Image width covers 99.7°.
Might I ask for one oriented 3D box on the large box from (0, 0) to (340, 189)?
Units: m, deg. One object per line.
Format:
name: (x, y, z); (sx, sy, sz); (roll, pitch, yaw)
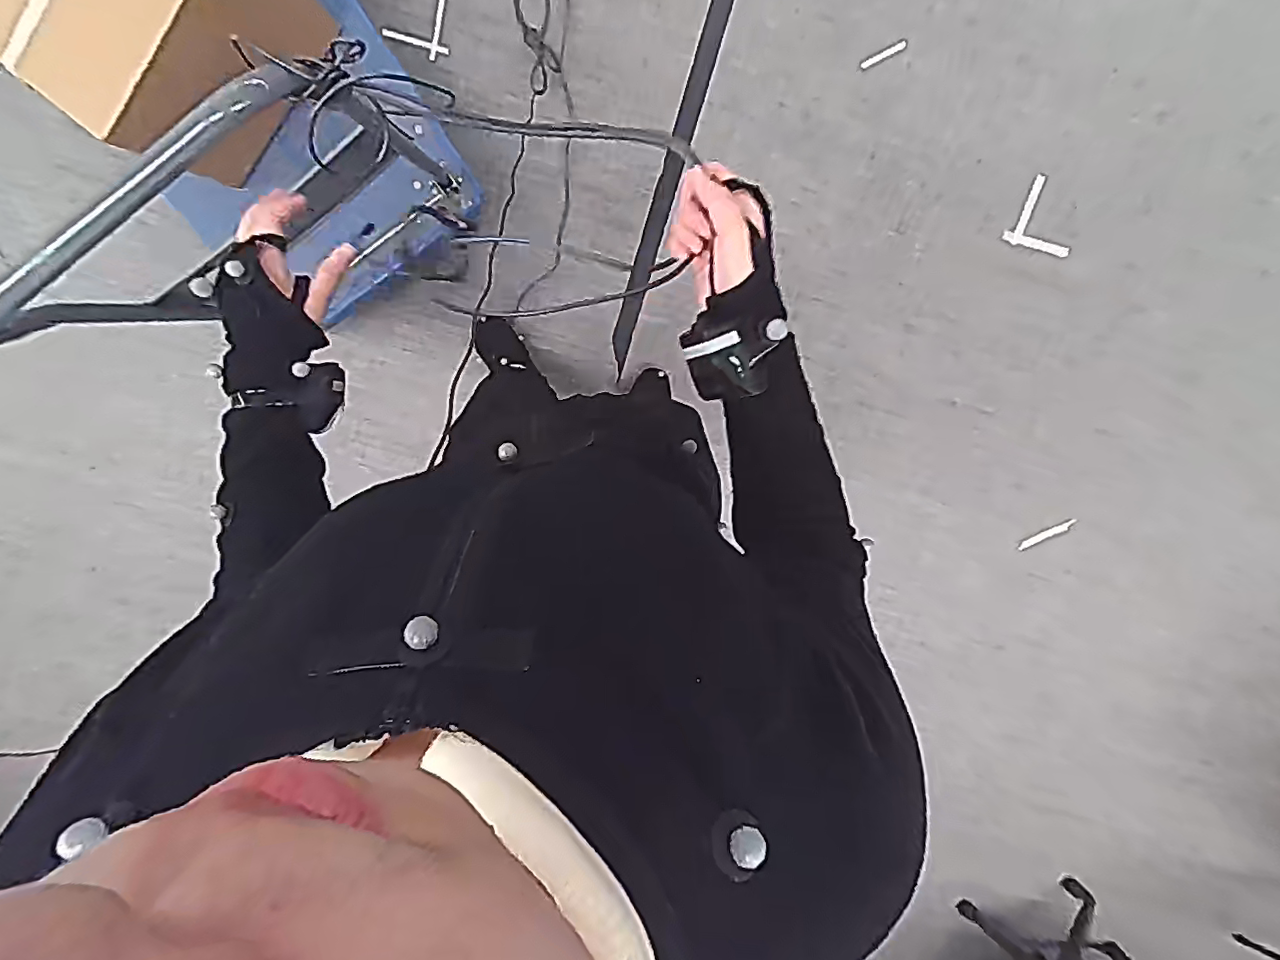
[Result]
large box: (-0.832, -0.815, 0.943); (0.320, 0.320, 0.408); (40, 101, -11)
